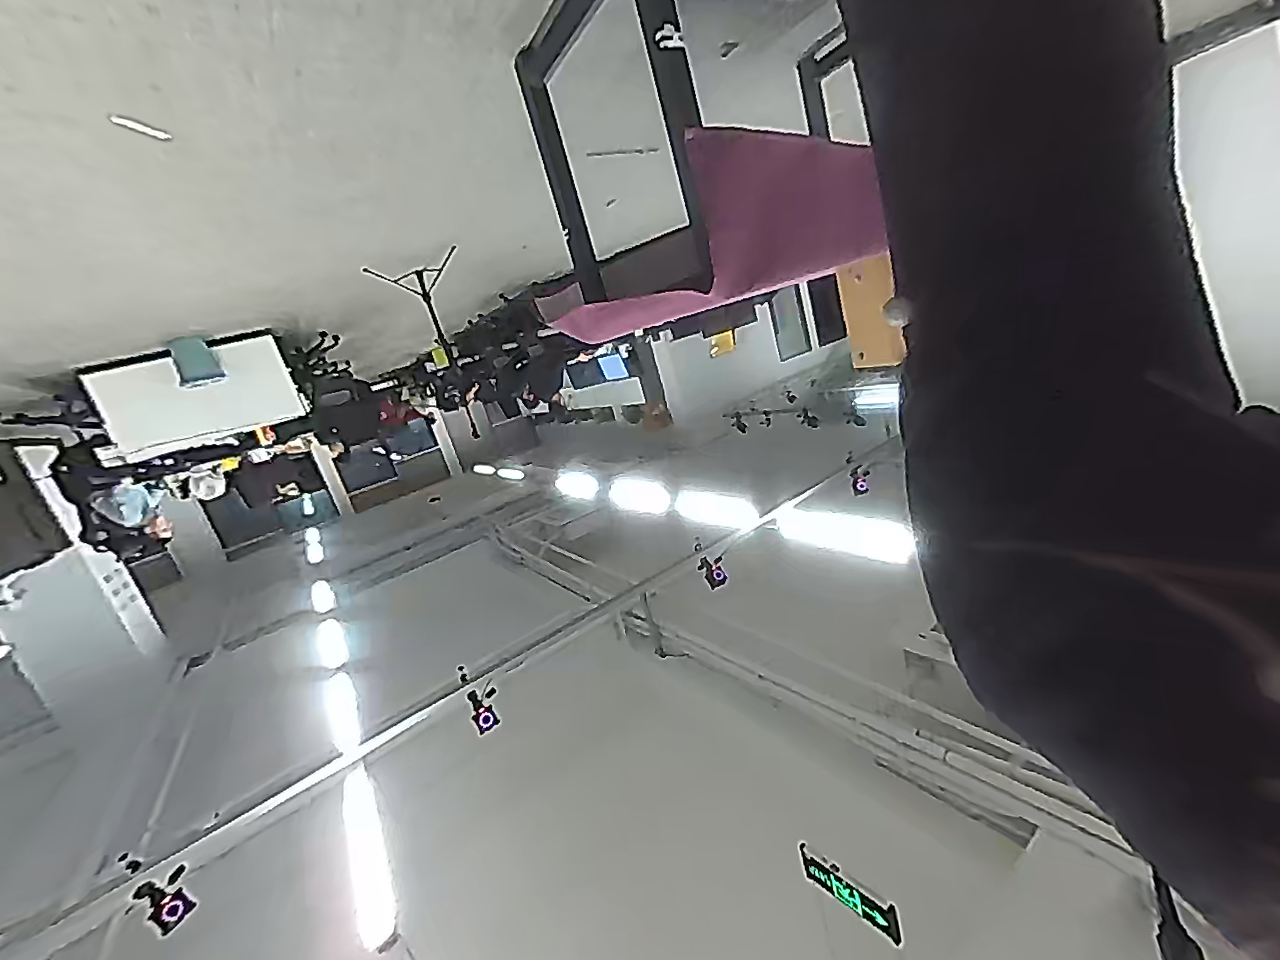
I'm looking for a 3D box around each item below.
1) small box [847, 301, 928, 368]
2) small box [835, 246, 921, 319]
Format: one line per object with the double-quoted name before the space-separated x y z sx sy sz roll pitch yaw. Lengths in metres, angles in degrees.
"small box" 0.794 -0.470 1.746 0.168 0.176 0.179 -22 -165 -18
"small box" 0.744 -0.620 1.696 0.179 0.176 0.168 -21 -165 -19
